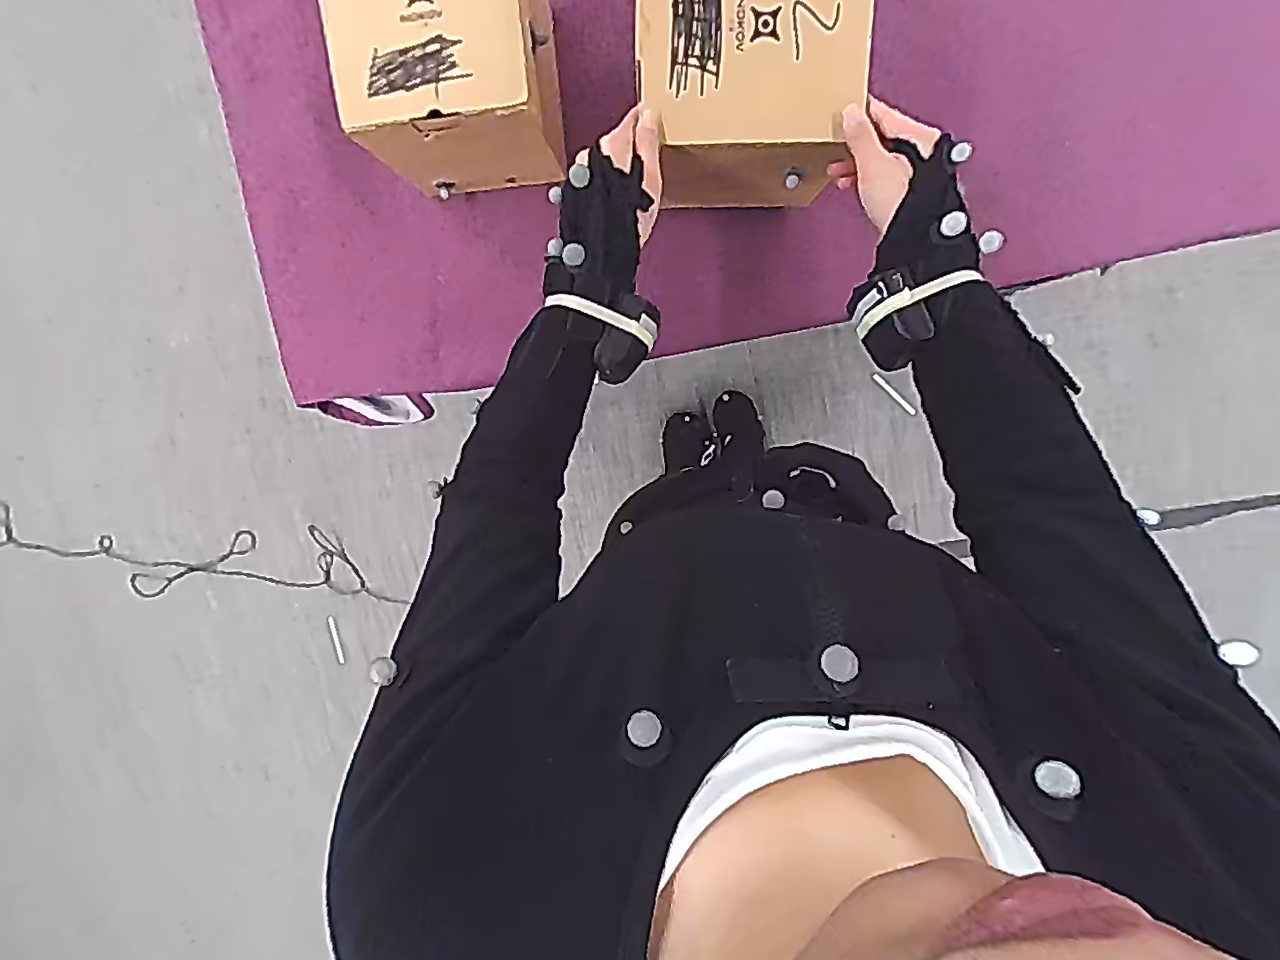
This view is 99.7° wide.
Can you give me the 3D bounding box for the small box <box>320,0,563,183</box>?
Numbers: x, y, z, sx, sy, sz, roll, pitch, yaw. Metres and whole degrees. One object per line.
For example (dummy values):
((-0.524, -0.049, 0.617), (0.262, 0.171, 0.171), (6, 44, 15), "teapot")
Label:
((-0.175, -0.405, 0.517), (0.168, 0.176, 0.179), (-5, 99, 4), "small box")
